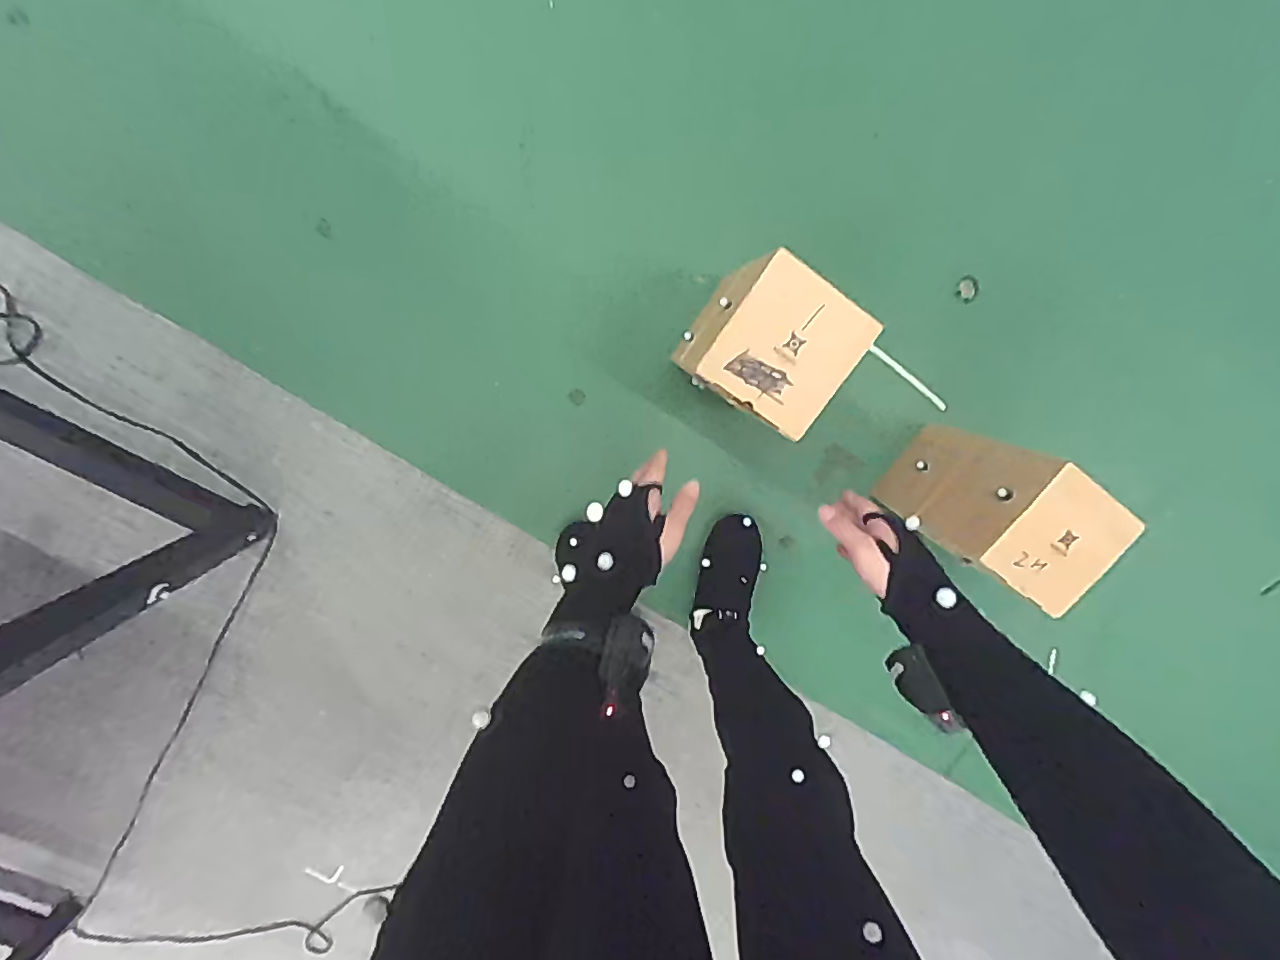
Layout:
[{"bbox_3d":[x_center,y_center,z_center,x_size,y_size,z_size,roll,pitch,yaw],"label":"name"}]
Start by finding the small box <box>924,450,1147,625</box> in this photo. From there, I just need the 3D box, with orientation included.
[{"bbox_3d":[0.579,0.075,0.819,0.168,0.176,0.179,35,101,-11],"label":"small box"}]

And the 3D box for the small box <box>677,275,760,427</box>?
[{"bbox_3d":[0.176,-0.212,0.898,0.168,0.176,0.179,33,101,-10],"label":"small box"}]

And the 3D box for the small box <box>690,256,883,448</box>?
[{"bbox_3d":[0.182,-0.171,0.740,0.168,0.176,0.179,33,100,-10],"label":"small box"}]
